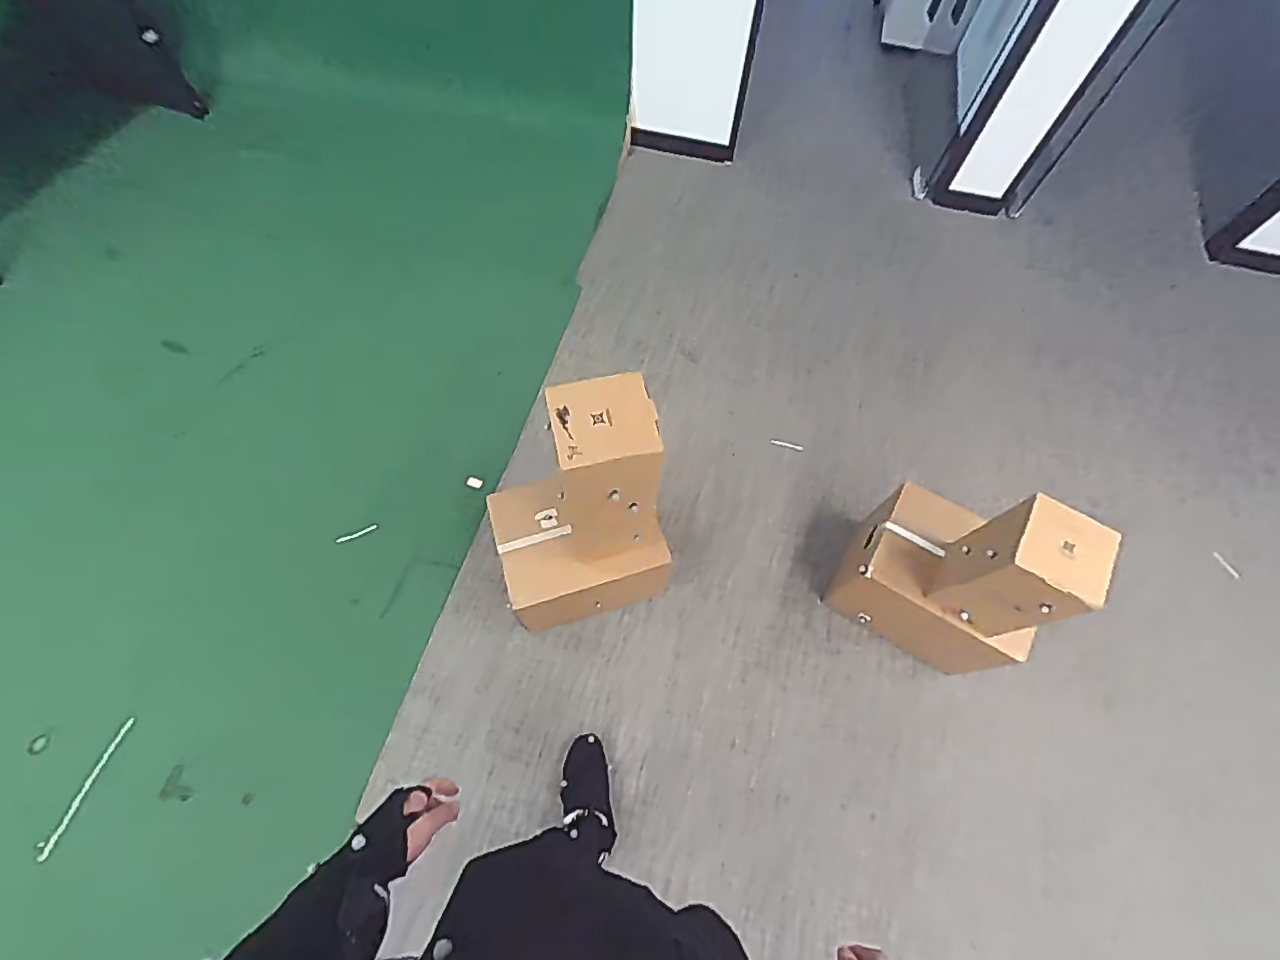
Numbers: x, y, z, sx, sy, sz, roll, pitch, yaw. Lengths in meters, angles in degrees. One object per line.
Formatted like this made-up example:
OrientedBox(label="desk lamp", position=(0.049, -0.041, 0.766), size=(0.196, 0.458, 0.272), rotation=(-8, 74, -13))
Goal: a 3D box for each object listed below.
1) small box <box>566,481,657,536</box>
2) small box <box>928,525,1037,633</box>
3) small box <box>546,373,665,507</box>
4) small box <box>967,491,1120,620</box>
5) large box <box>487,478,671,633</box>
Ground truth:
OrientedBox(label="small box", position=(-0.073, 0.000, 1.126), size=(0.179, 0.176, 0.168), rotation=(-12, 65, -8))
OrientedBox(label="small box", position=(0.800, 0.225, 1.239), size=(0.168, 0.176, 0.179), rotation=(33, 69, 13))
OrientedBox(label="small box", position=(-0.066, -0.068, 0.977), size=(0.179, 0.176, 0.168), rotation=(-11, 65, -9))
OrientedBox(label="small box", position=(0.800, 0.159, 1.090), size=(0.168, 0.176, 0.179), rotation=(31, 68, 11))
OrientedBox(label="large box", position=(-0.161, 0.187, 1.489), size=(0.408, 0.320, 0.320), rotation=(-17, 65, -9))
